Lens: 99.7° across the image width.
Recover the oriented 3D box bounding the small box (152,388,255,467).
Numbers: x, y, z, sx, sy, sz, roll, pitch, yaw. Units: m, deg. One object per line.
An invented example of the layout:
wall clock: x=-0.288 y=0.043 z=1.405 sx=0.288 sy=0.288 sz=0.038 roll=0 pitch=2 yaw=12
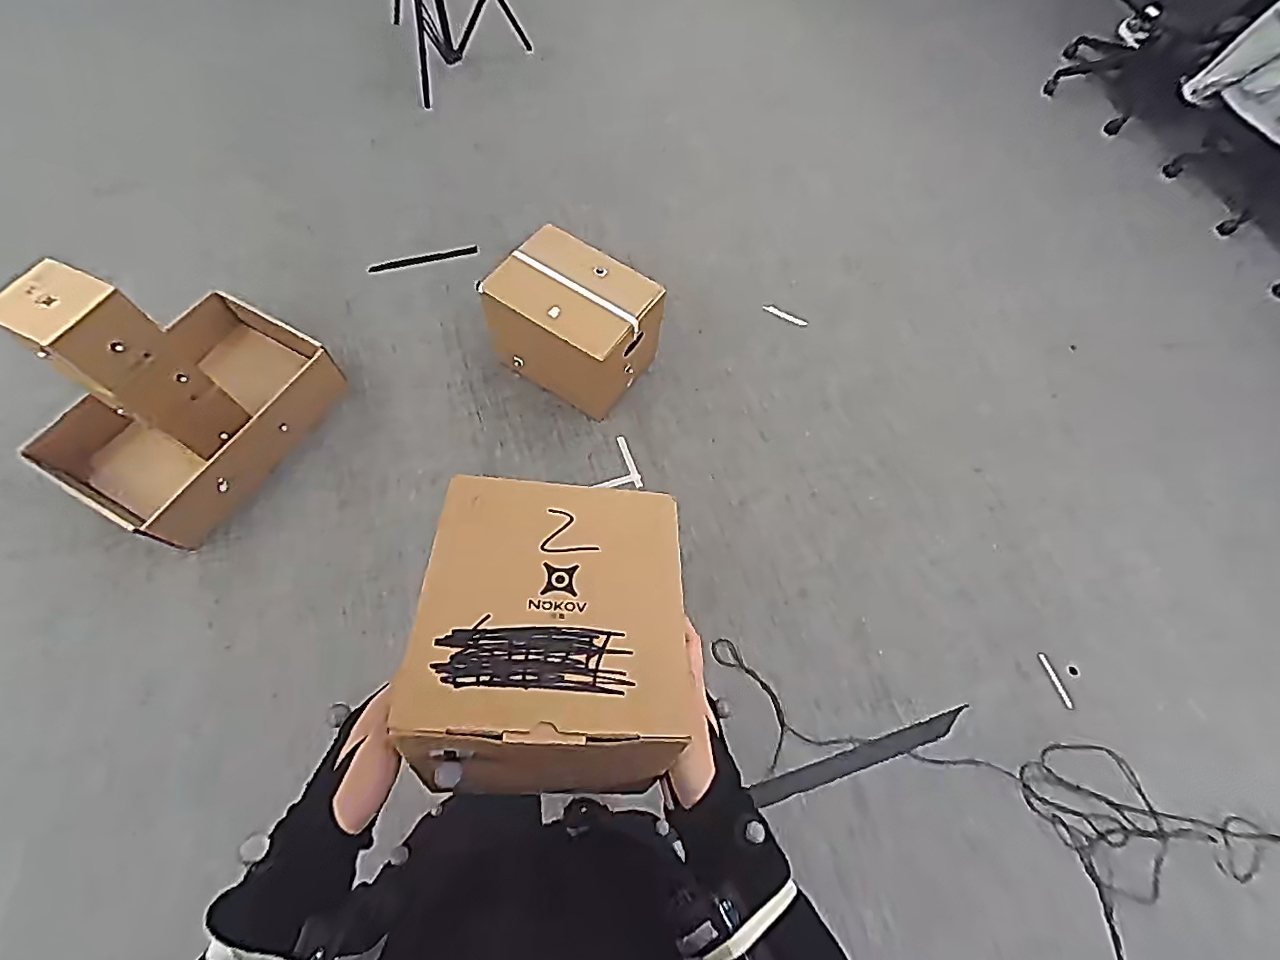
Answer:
small box: x=-1.179 y=-0.161 z=1.420 sx=0.179 sy=0.176 sz=0.168 roll=27 pitch=66 yaw=7

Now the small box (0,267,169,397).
small box: x=-1.155 y=-0.297 z=1.123 sx=0.179 sy=0.176 sz=0.168 roll=23 pitch=64 yaw=5

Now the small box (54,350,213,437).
small box: x=-1.171 y=-0.224 z=1.271 sx=0.179 sy=0.176 sz=0.168 roll=23 pitch=65 yaw=7
